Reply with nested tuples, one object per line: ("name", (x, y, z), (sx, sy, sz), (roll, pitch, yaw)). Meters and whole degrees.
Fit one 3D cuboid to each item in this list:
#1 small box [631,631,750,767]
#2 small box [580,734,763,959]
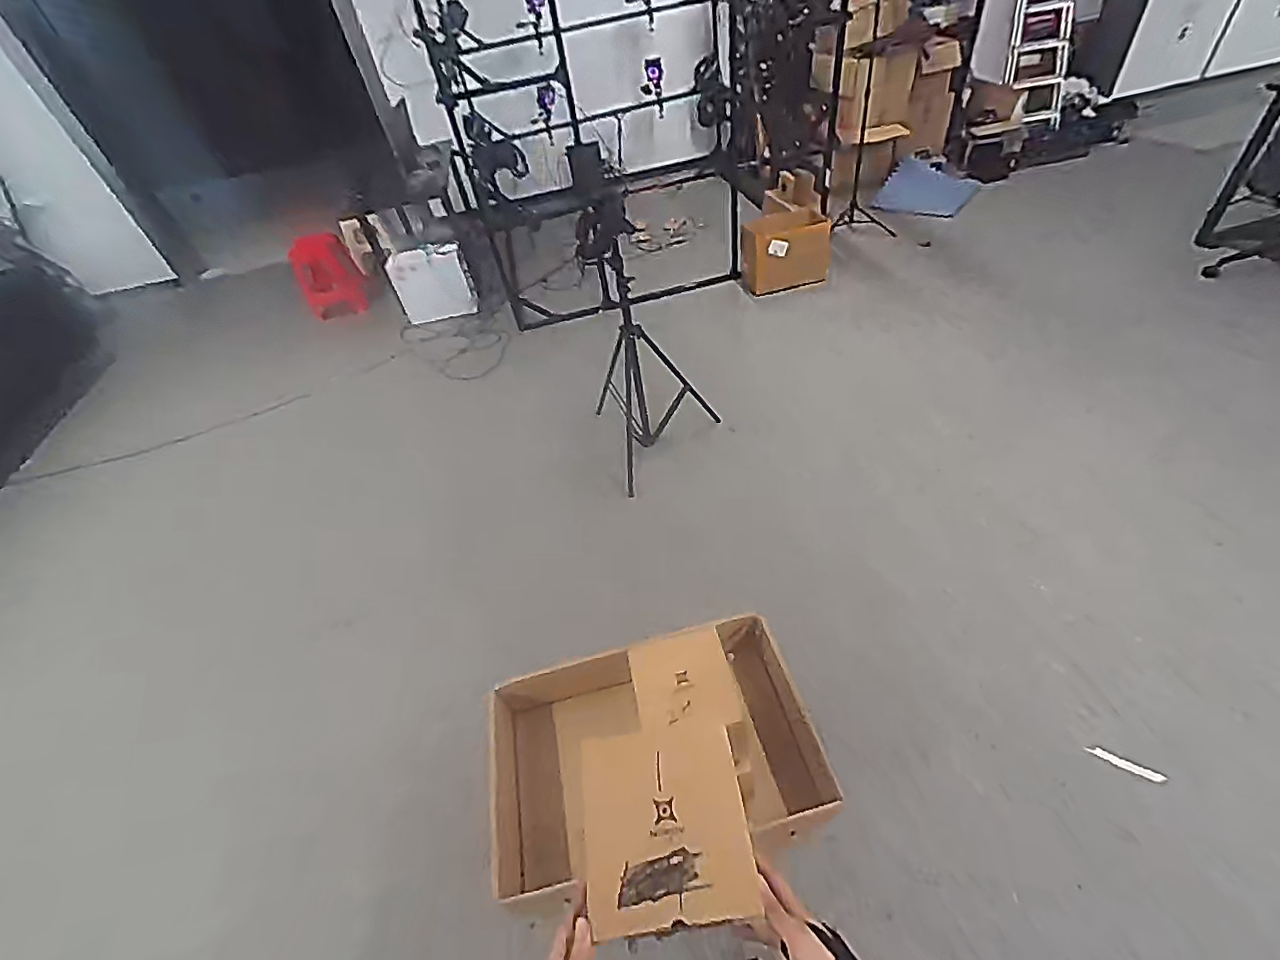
("small box", (0.089, 0.401, 0.958), (0.168, 0.176, 0.179), (-15, 44, 0))
("small box", (0.028, 0.405, 0.599), (0.168, 0.176, 0.179), (-6, 49, -3))
